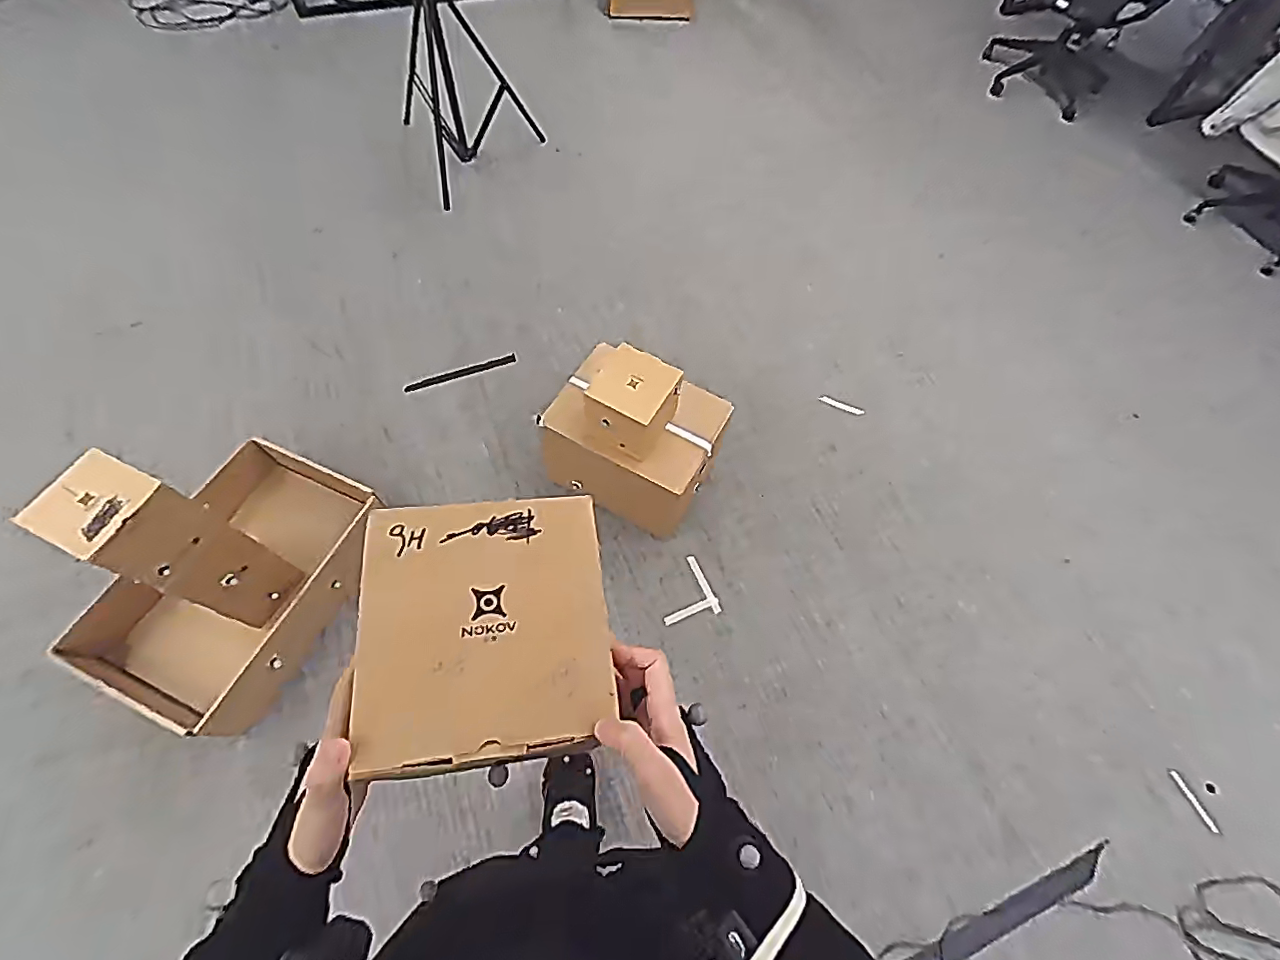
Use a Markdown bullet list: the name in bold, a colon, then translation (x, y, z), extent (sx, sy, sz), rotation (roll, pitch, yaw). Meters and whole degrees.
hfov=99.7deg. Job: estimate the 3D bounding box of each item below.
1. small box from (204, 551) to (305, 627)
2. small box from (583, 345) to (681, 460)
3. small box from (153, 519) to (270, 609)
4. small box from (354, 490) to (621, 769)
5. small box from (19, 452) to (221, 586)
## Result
- **small box**: translation (-0.965, 0.235, 1.303), extent (0.179, 0.176, 0.168), rotation (25, 64, 10)
- **small box**: translation (-0.018, -0.178, 1.284), extent (0.168, 0.176, 0.179), rotation (28, 64, 10)
- **small box**: translation (-0.958, 0.158, 1.160), extent (0.179, 0.176, 0.168), rotation (24, 65, 8)
- **small box**: translation (-0.115, 0.125, 0.441), extent (0.168, 0.176, 0.179), rotation (-3, 63, -14)
- **small box**: translation (-0.955, 0.082, 1.015), extent (0.179, 0.176, 0.168), rotation (23, 64, 10)
